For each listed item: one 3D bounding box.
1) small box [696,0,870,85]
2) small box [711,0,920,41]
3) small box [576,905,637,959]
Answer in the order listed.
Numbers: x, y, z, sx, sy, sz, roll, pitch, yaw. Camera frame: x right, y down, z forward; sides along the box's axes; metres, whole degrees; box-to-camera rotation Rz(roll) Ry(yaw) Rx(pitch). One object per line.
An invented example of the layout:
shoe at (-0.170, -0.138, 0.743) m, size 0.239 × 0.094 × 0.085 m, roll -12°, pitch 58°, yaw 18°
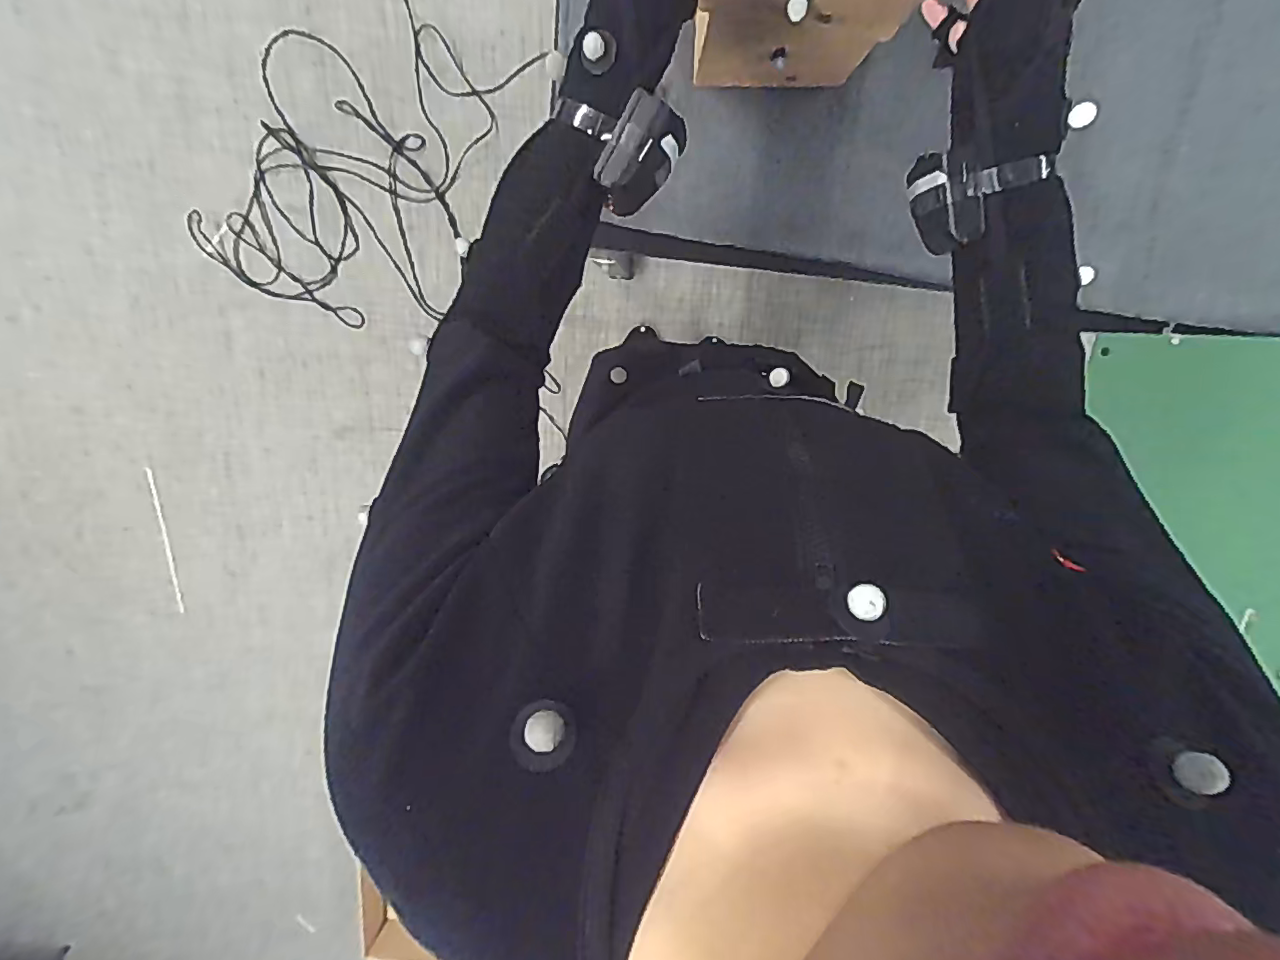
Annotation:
small box at (0.143, -0.498, 0.503) m, size 0.168 × 0.176 × 0.179 m, roll 0°, pitch 106°, yaw 0°
small box at (0.139, -0.436, 0.349) m, size 0.168 × 0.176 × 0.179 m, roll 8°, pitch 108°, yaw -1°
small box at (-0.098, 1.424, 1.627) m, size 0.168 × 0.176 × 0.179 m, roll -2°, pitch 104°, yaw 3°
